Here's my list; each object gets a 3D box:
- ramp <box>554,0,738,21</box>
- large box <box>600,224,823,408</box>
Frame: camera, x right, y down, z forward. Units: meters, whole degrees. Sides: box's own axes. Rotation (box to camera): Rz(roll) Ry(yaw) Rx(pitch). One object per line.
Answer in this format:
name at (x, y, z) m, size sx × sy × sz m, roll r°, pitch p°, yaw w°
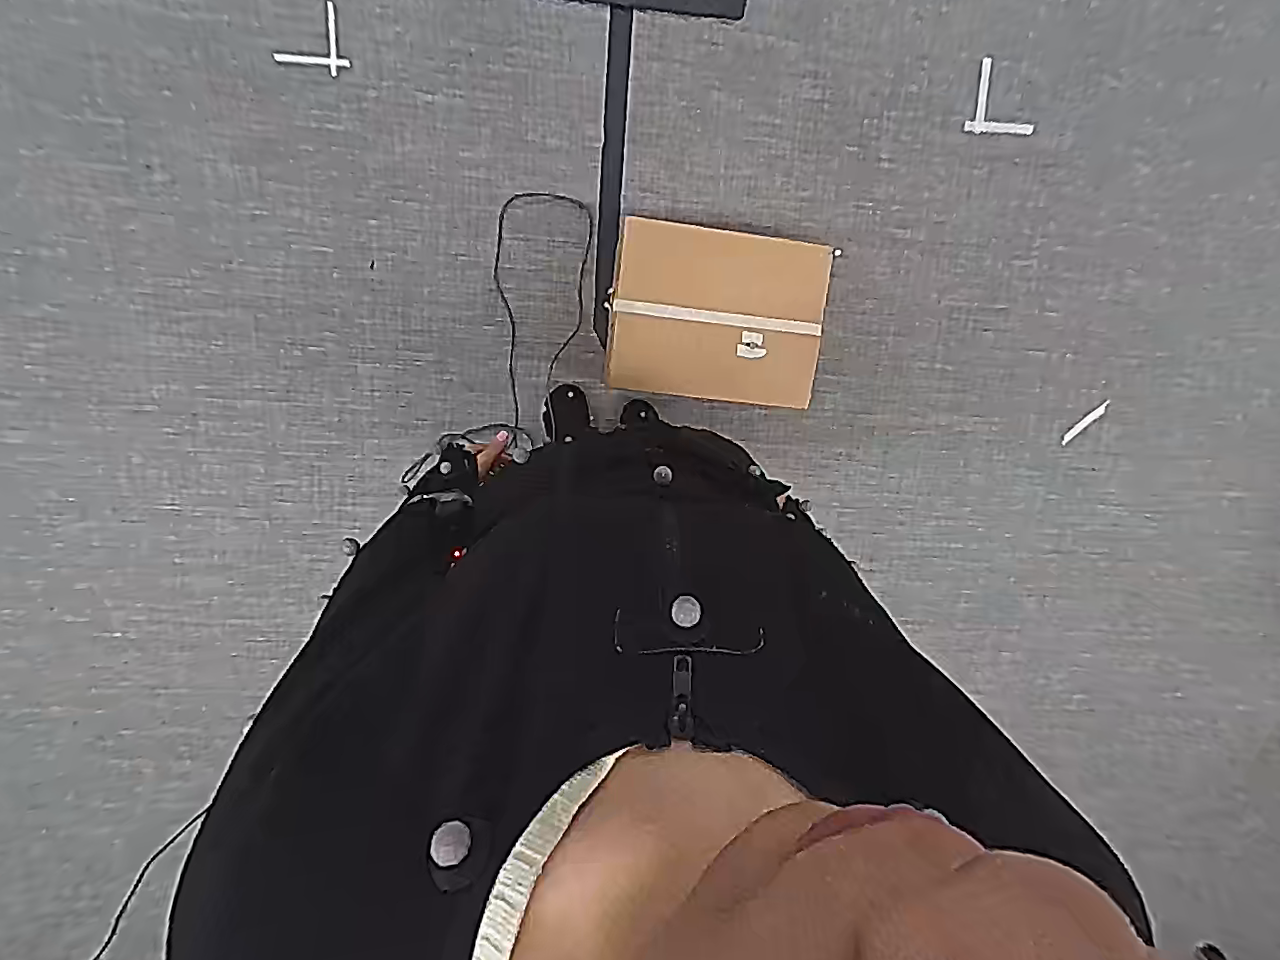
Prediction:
ramp at (0.009, -1.490, 0.996) m, size 0.509 × 0.206 × 0.991 m, roll 0°, pitch 102°, yaw -7°
large box at (0.127, -0.336, 1.187) m, size 0.408 × 0.320 × 0.320 m, roll 5°, pitch 102°, yaw -8°
